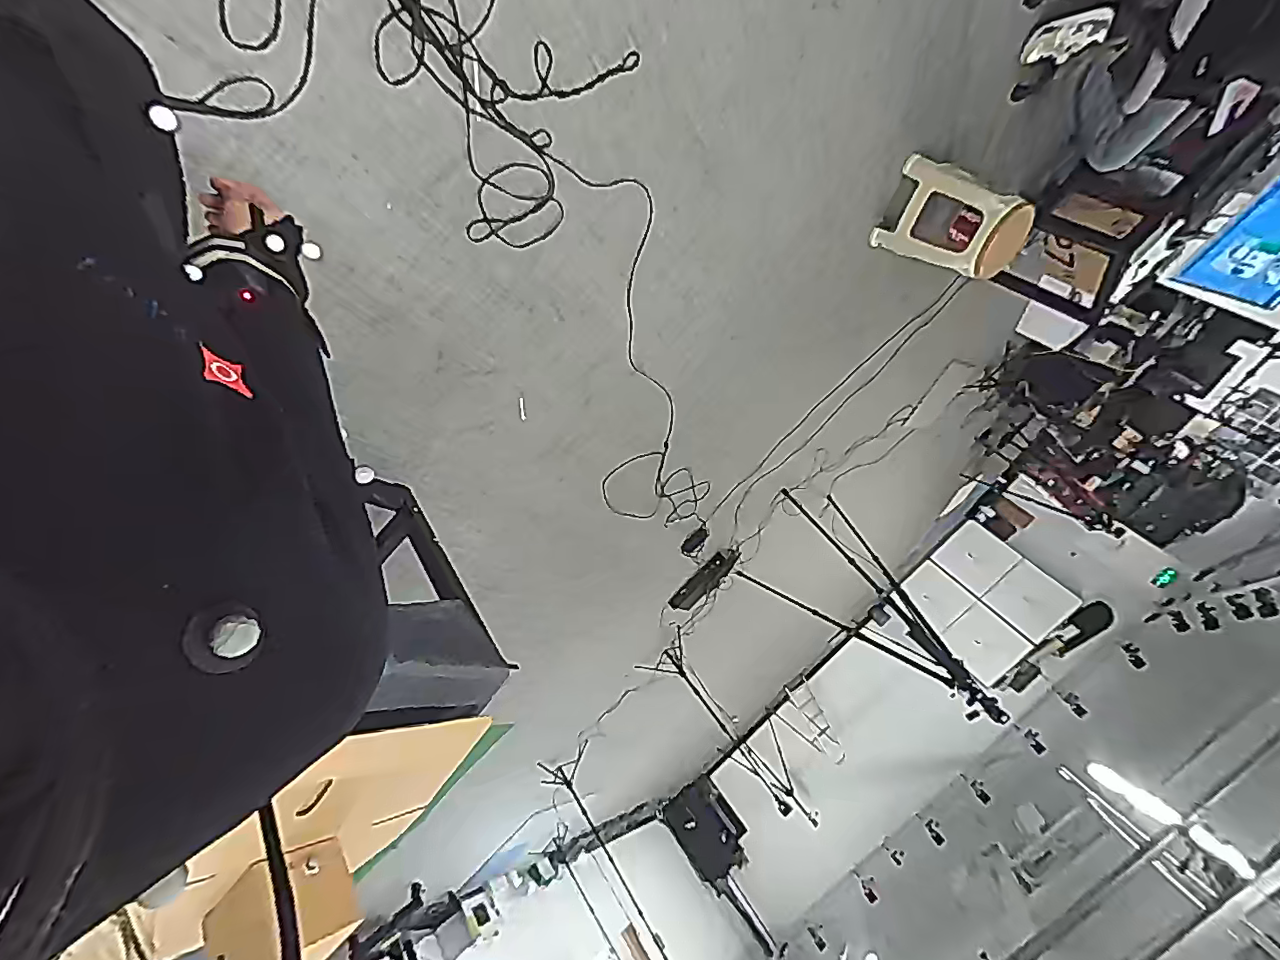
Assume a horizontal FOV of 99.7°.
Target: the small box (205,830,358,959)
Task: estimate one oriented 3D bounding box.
[{"bbox_3d":[-0.674,0.805,1.011,0.179,0.176,0.168,-48,151,9],"label":"small box"}]
